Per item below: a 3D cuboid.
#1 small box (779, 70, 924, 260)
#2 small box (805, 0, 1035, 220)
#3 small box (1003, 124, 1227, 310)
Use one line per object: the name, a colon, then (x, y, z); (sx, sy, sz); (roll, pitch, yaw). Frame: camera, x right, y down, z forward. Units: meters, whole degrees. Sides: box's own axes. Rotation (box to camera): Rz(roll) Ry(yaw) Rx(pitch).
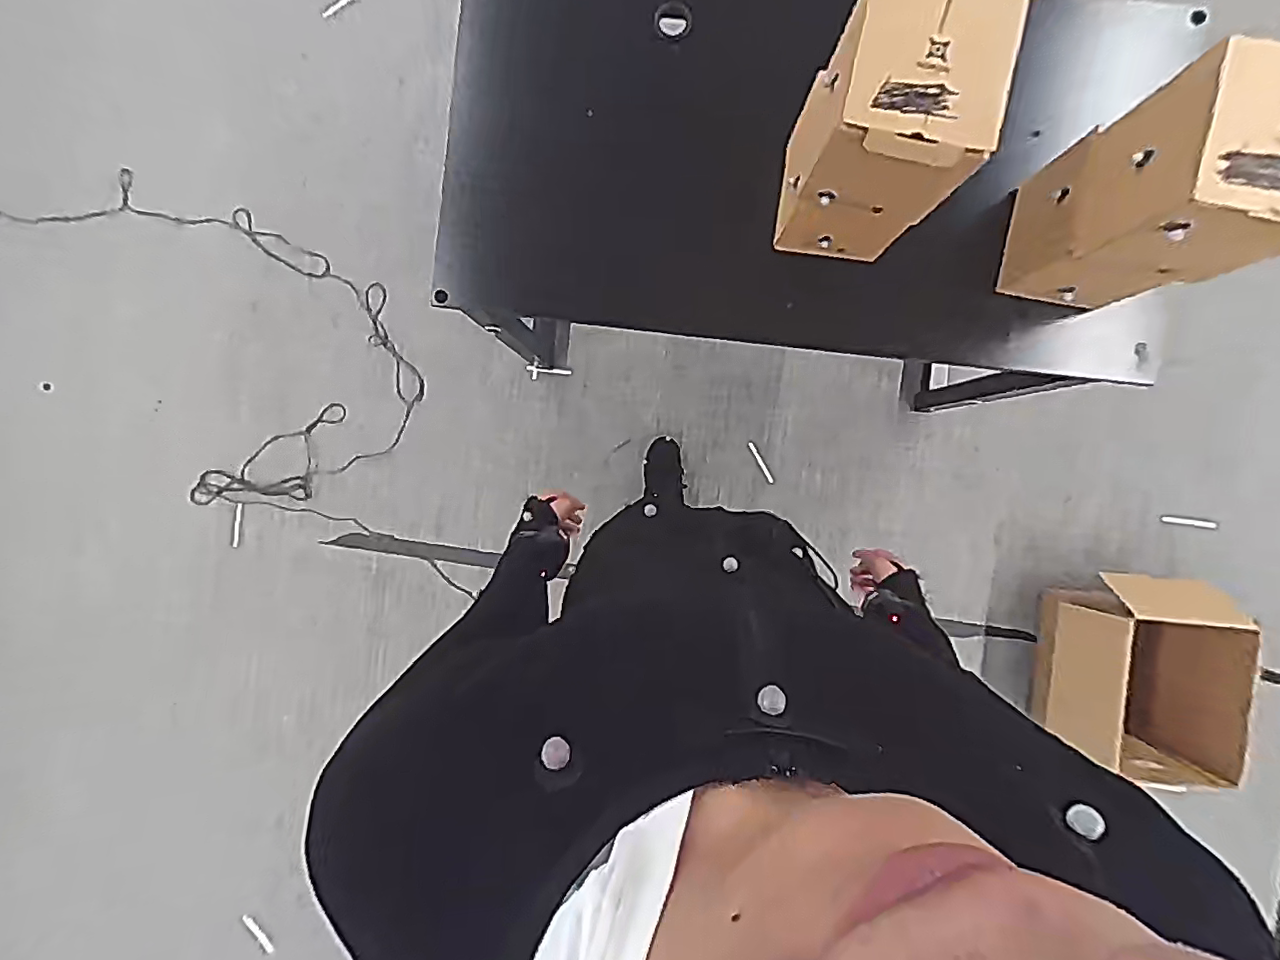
small box: (0.313, -0.452, 0.800); (0.168, 0.176, 0.179); (8, 93, 1)
small box: (0.308, -0.437, 0.637); (0.168, 0.176, 0.179); (13, 92, 1)
small box: (0.673, -0.370, 0.790); (0.168, 0.176, 0.179); (12, 92, 2)
